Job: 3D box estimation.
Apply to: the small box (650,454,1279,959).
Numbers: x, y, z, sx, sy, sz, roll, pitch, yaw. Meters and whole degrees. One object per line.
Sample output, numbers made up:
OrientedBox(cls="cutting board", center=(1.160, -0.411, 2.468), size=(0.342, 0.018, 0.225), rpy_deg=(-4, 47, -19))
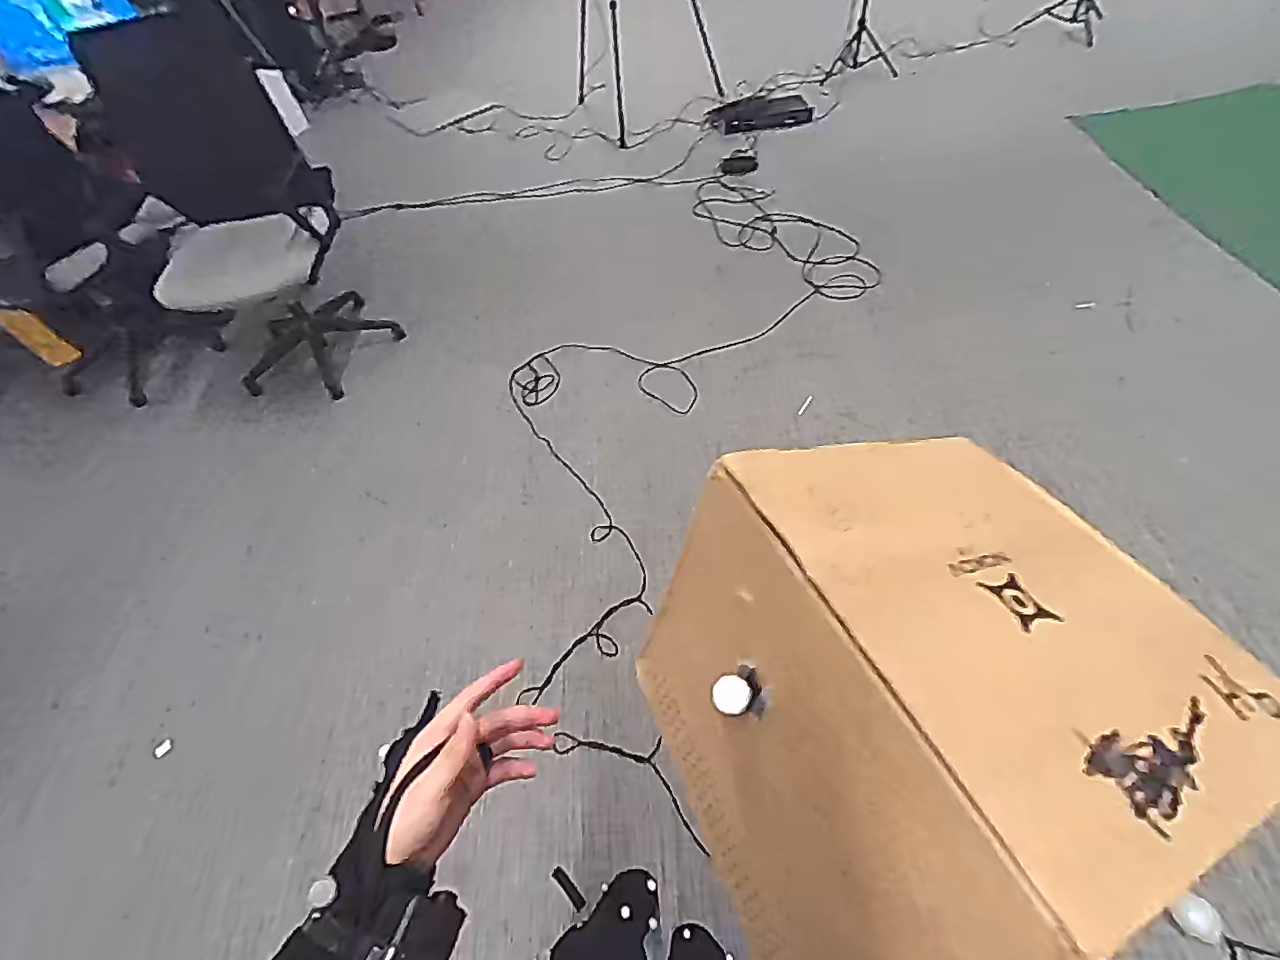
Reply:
OrientedBox(cls="small box", center=(0.121, 0.109, 0.265), size=(0.168, 0.176, 0.179), rpy_deg=(-7, 43, -25))
